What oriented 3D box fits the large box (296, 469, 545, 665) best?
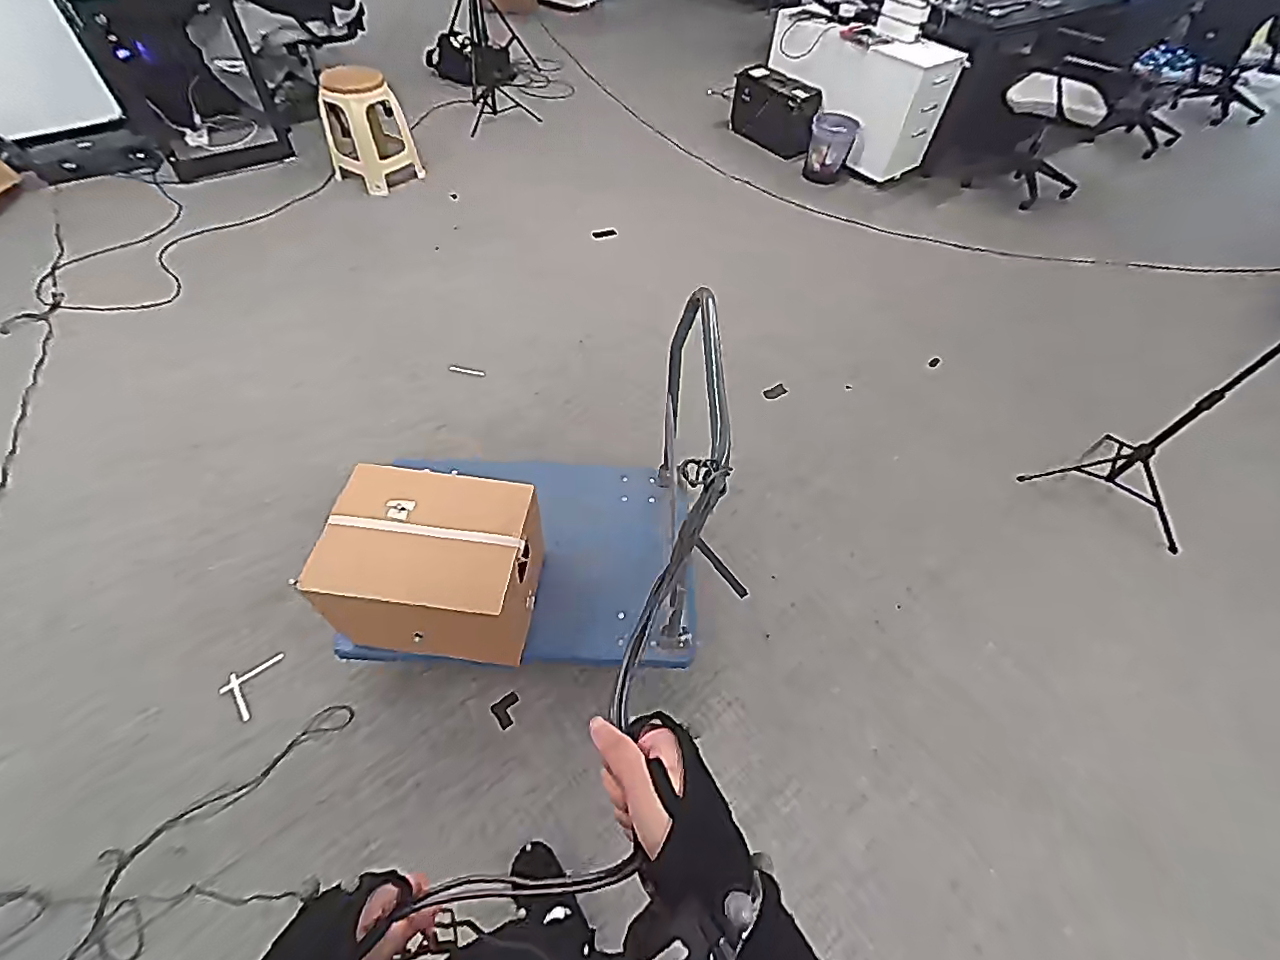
[{"bbox_3d":[-0.452,0.206,1.232,0.408,0.320,0.320,7,52,1],"label":"large box"}]
